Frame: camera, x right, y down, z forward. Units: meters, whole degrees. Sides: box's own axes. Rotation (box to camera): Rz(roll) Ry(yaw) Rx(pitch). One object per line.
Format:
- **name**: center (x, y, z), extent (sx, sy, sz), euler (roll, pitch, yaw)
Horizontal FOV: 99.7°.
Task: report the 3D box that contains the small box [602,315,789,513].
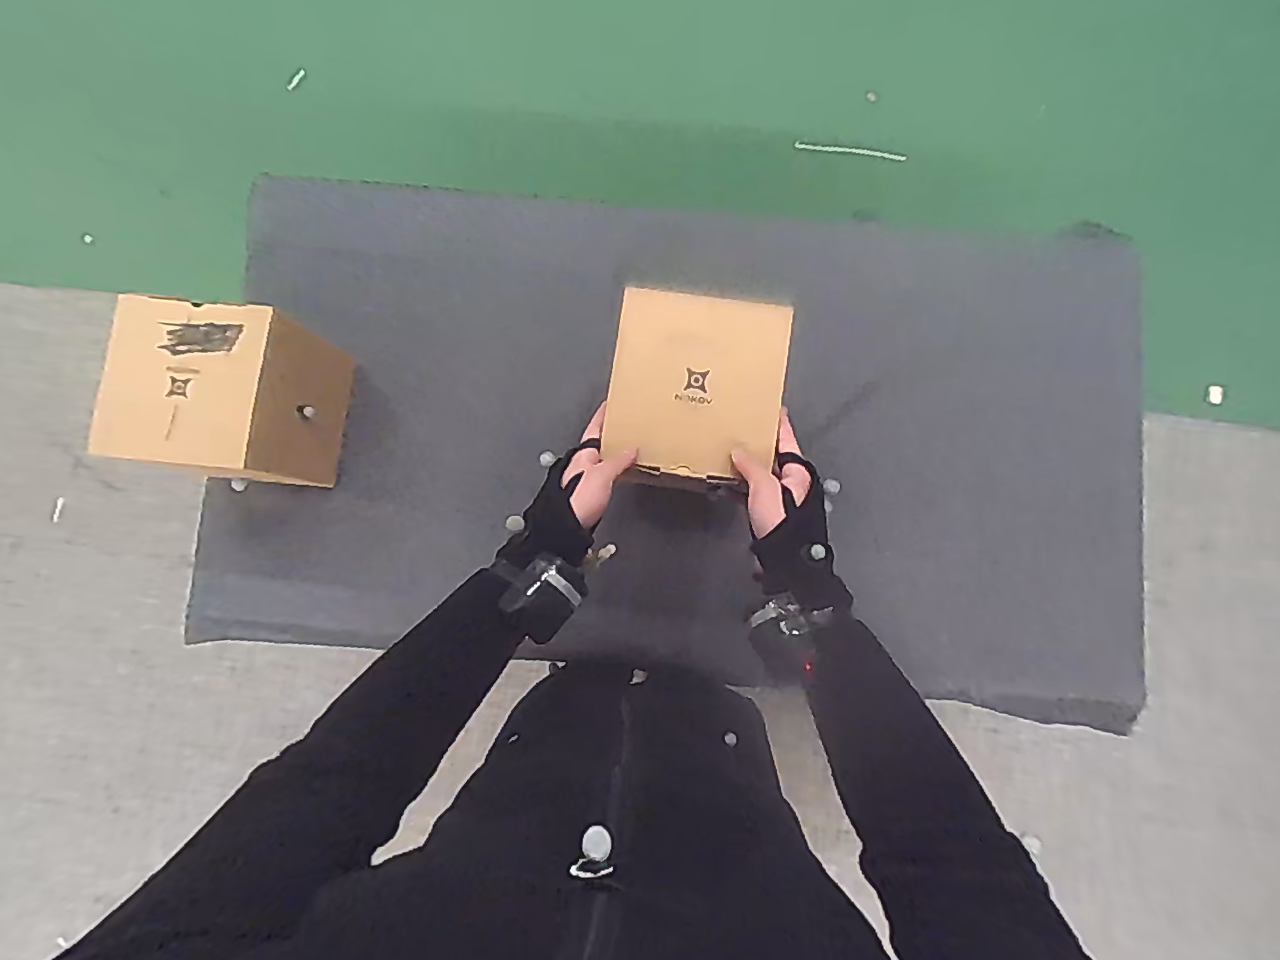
- **small box**: center (0.058, -0.060, 0.603), extent (0.168, 0.176, 0.179), euler (7, 83, 2)
